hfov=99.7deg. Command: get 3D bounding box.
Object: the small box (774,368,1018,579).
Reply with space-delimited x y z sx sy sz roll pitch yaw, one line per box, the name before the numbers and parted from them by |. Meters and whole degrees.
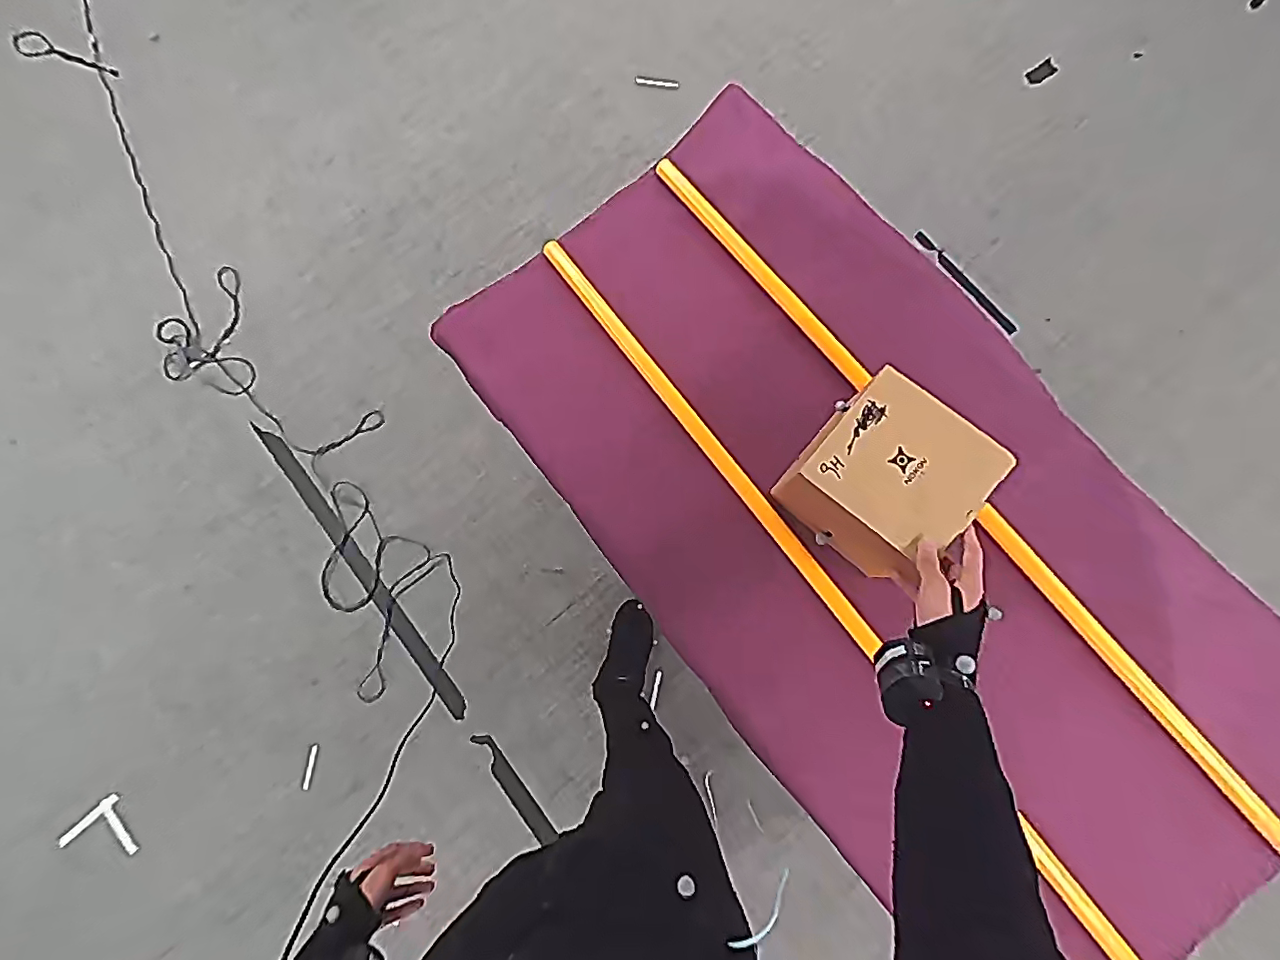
small box | 0.294 0.001 0.662 0.179 0.176 0.168 41 84 8
